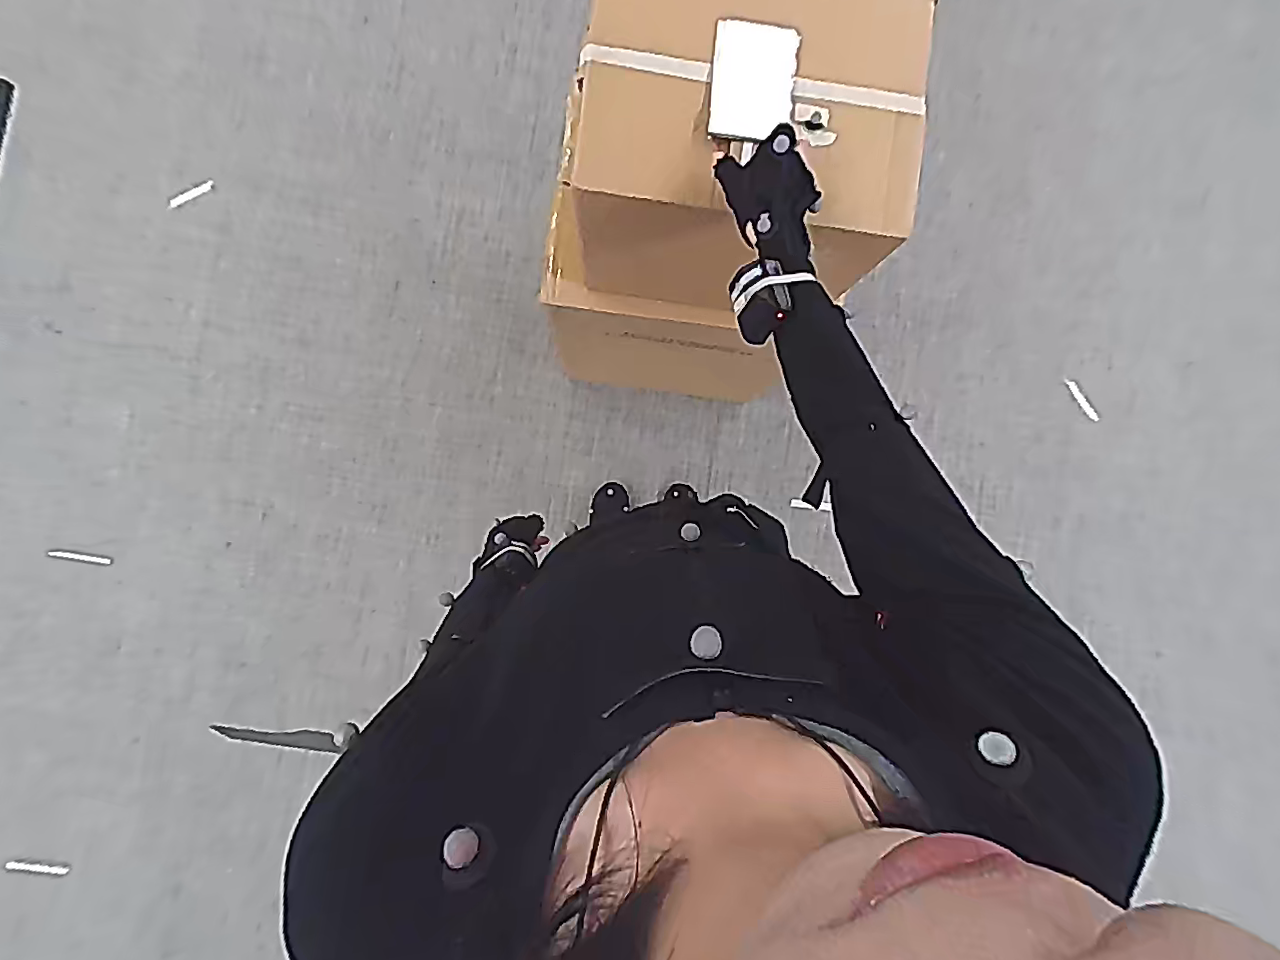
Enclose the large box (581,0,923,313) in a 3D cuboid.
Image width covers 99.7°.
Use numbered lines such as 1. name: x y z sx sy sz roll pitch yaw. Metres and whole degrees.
1. large box: 0.128 -0.467 0.798 0.408 0.320 0.320 7 88 -4
